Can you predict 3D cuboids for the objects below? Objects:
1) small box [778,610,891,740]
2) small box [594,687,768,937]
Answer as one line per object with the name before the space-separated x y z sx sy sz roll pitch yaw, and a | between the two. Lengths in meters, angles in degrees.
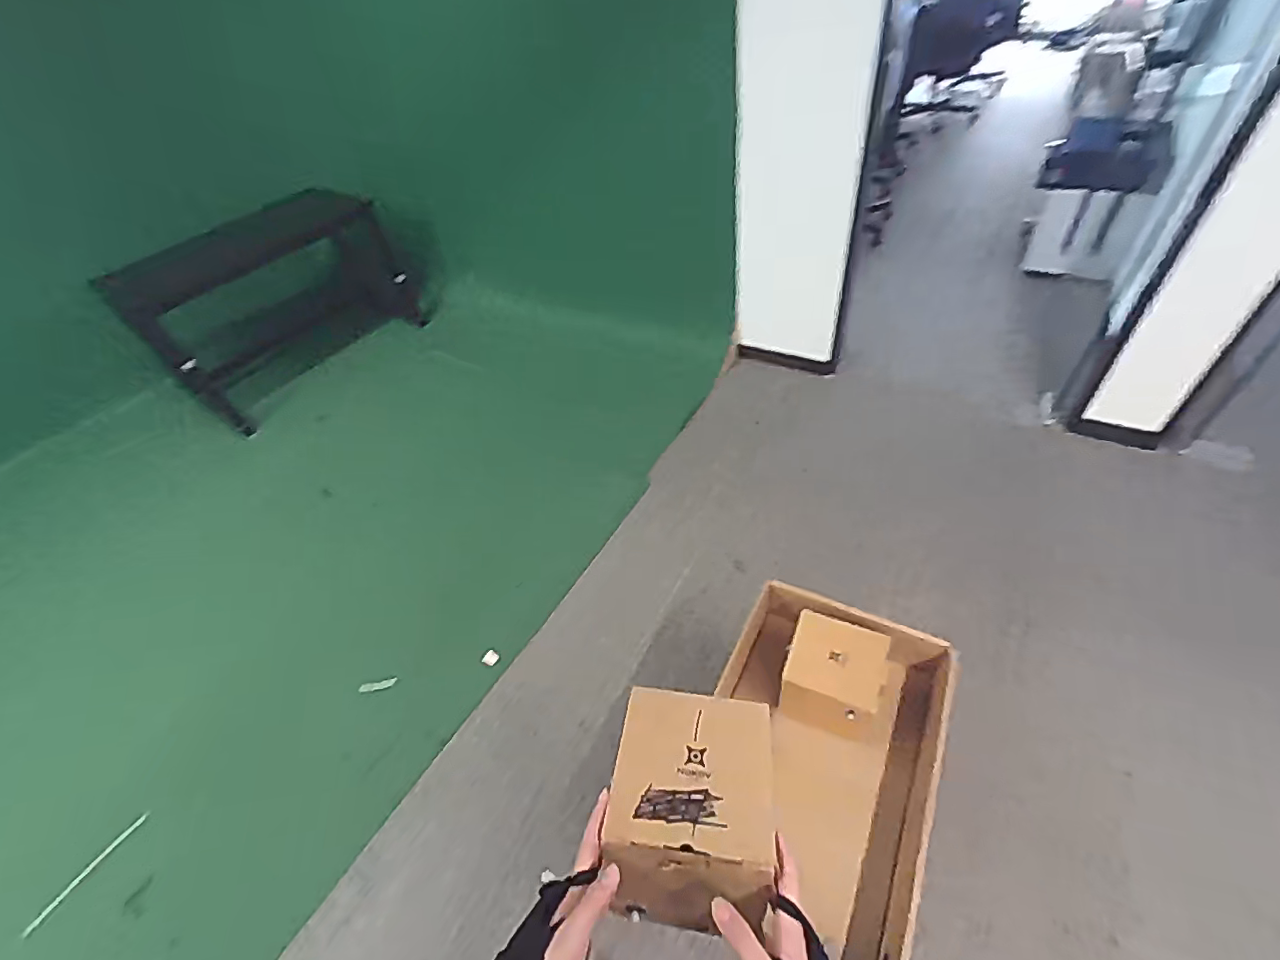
small box | 0.390 0.400 1.103 0.179 0.176 0.168 15 50 22
small box | 0.051 0.368 0.608 0.168 0.176 0.179 5 31 8
